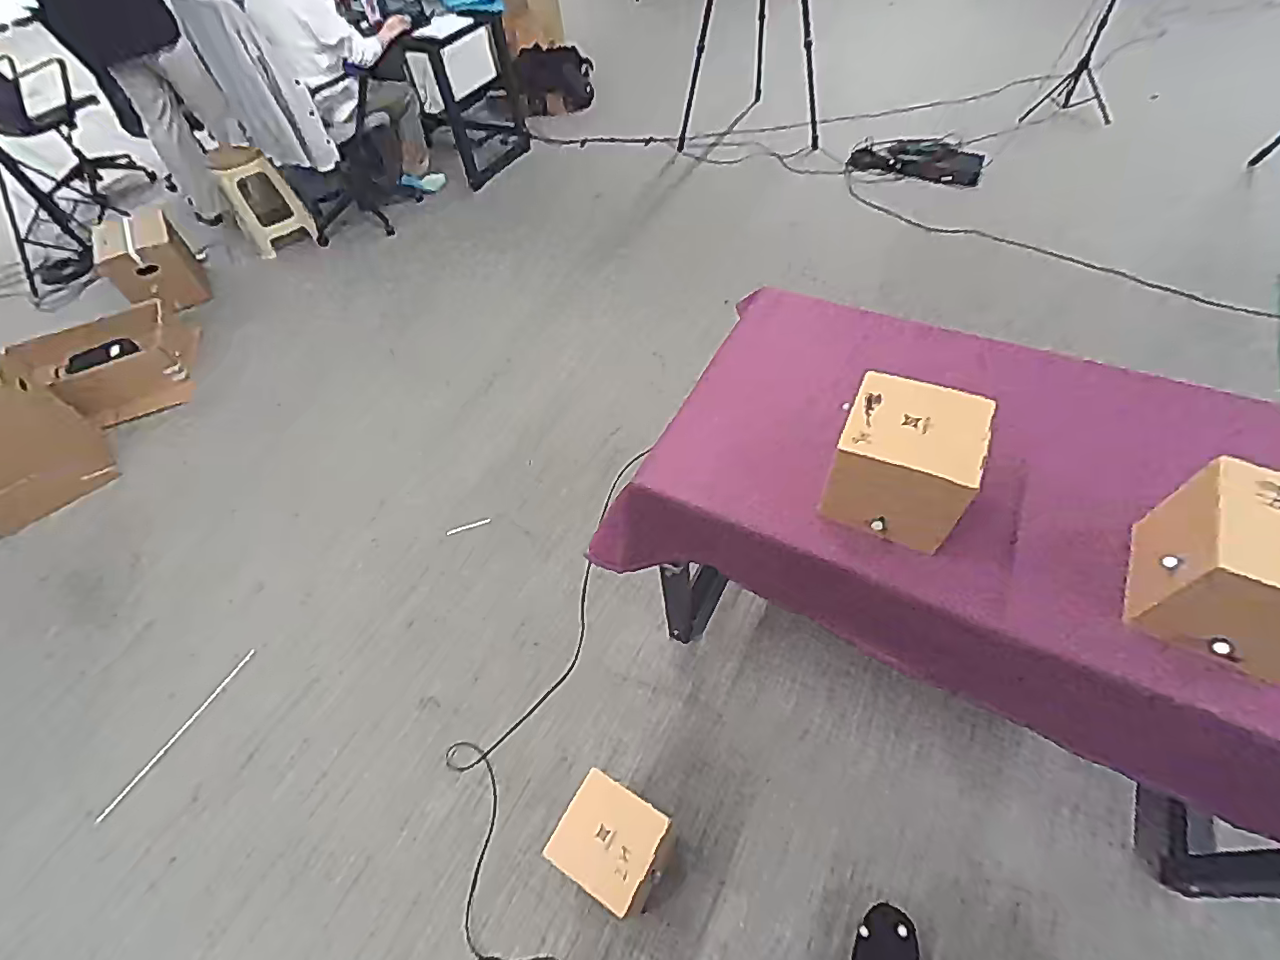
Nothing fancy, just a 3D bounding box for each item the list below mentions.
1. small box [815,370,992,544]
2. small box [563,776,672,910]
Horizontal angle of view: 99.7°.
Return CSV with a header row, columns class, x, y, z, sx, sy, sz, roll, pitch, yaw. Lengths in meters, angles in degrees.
class,x,y,z,sx,sy,sz,roll,pitch,yaw
small box,0.379,-0.028,0.799,0.179,0.176,0.168,21,58,19
small box,-0.037,0.777,1.161,0.168,0.176,0.179,23,58,21
